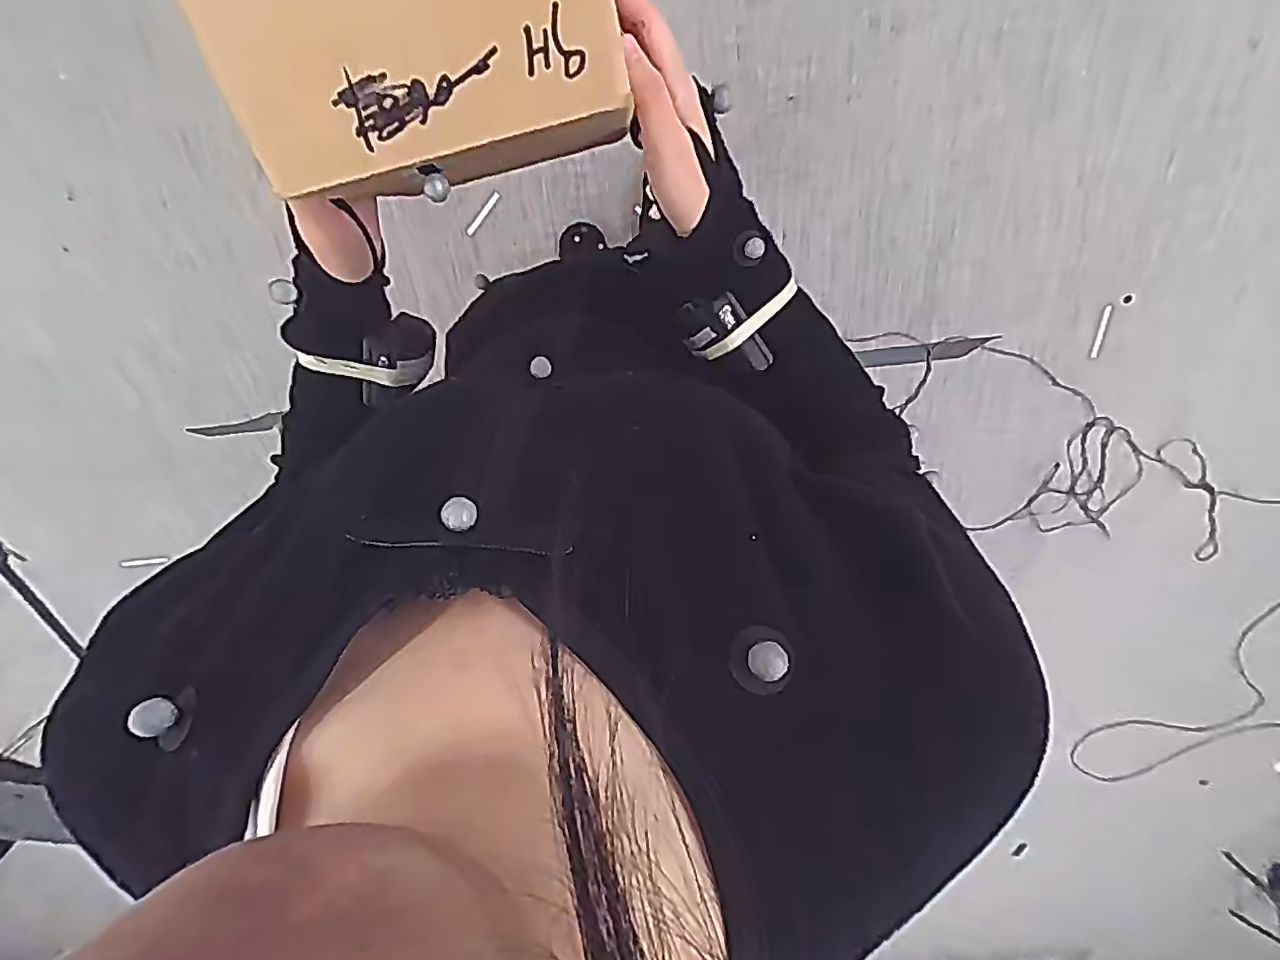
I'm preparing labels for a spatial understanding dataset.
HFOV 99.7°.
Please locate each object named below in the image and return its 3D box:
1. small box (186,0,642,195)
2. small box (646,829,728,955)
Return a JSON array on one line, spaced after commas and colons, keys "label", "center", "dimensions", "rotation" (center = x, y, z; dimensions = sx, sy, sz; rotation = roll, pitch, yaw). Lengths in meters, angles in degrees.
[{"label": "small box", "center": [-0.099, -0.252, 0.263], "dimensions": [0.168, 0.176, 0.179], "rotation": [-12, 118, 5]}, {"label": "small box", "center": [0.100, 0.904, 1.191], "dimensions": [0.168, 0.176, 0.179], "rotation": [-5, 118, 1]}]
